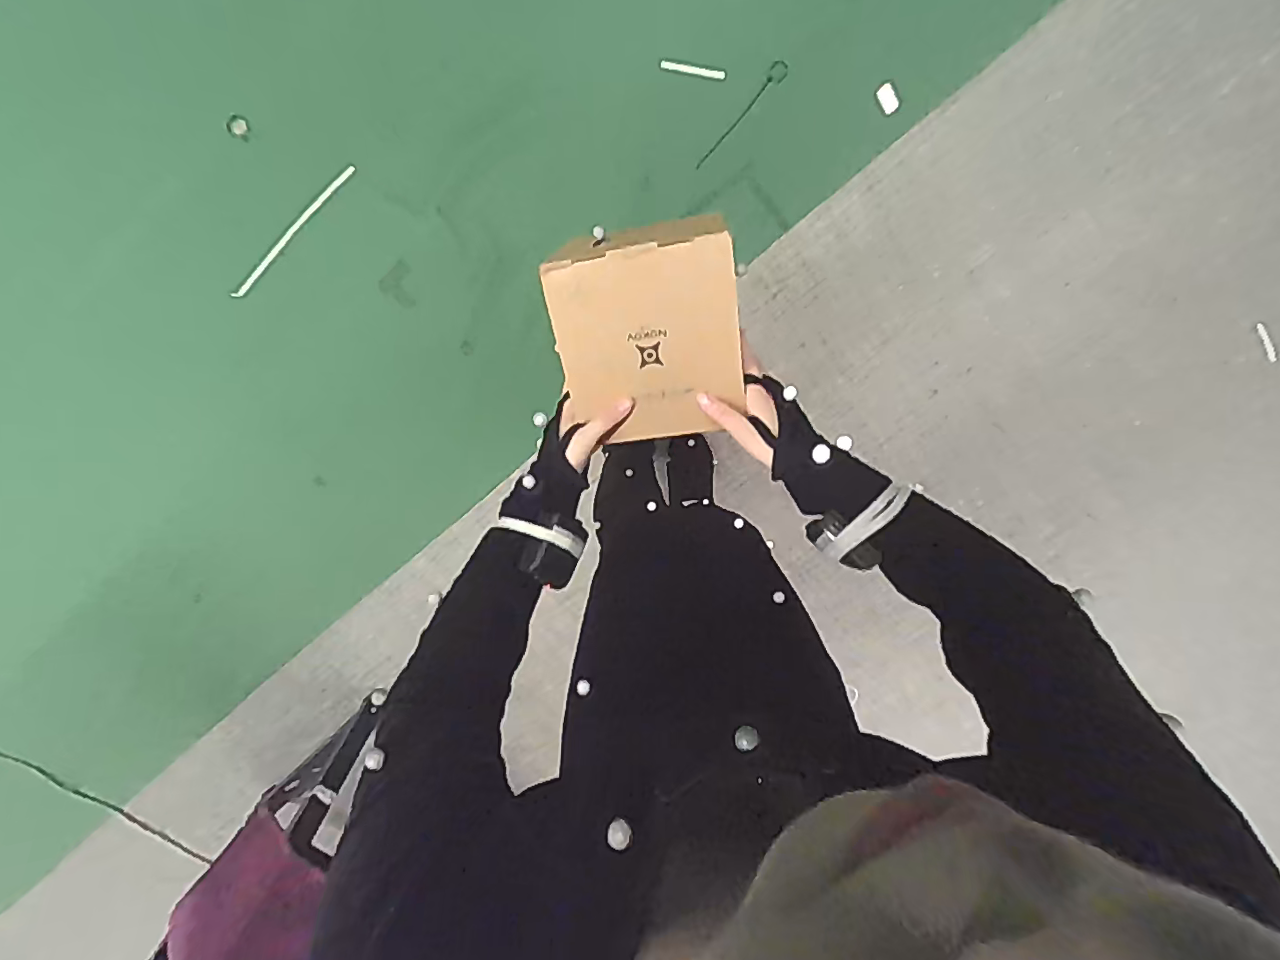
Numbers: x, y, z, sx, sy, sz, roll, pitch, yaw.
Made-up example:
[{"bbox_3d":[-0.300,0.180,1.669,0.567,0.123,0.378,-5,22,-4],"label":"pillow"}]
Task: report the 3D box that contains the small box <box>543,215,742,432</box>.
[{"bbox_3d":[0.012,-0.171,0.568,0.168,0.176,0.179,-6,119,9],"label":"small box"}]
